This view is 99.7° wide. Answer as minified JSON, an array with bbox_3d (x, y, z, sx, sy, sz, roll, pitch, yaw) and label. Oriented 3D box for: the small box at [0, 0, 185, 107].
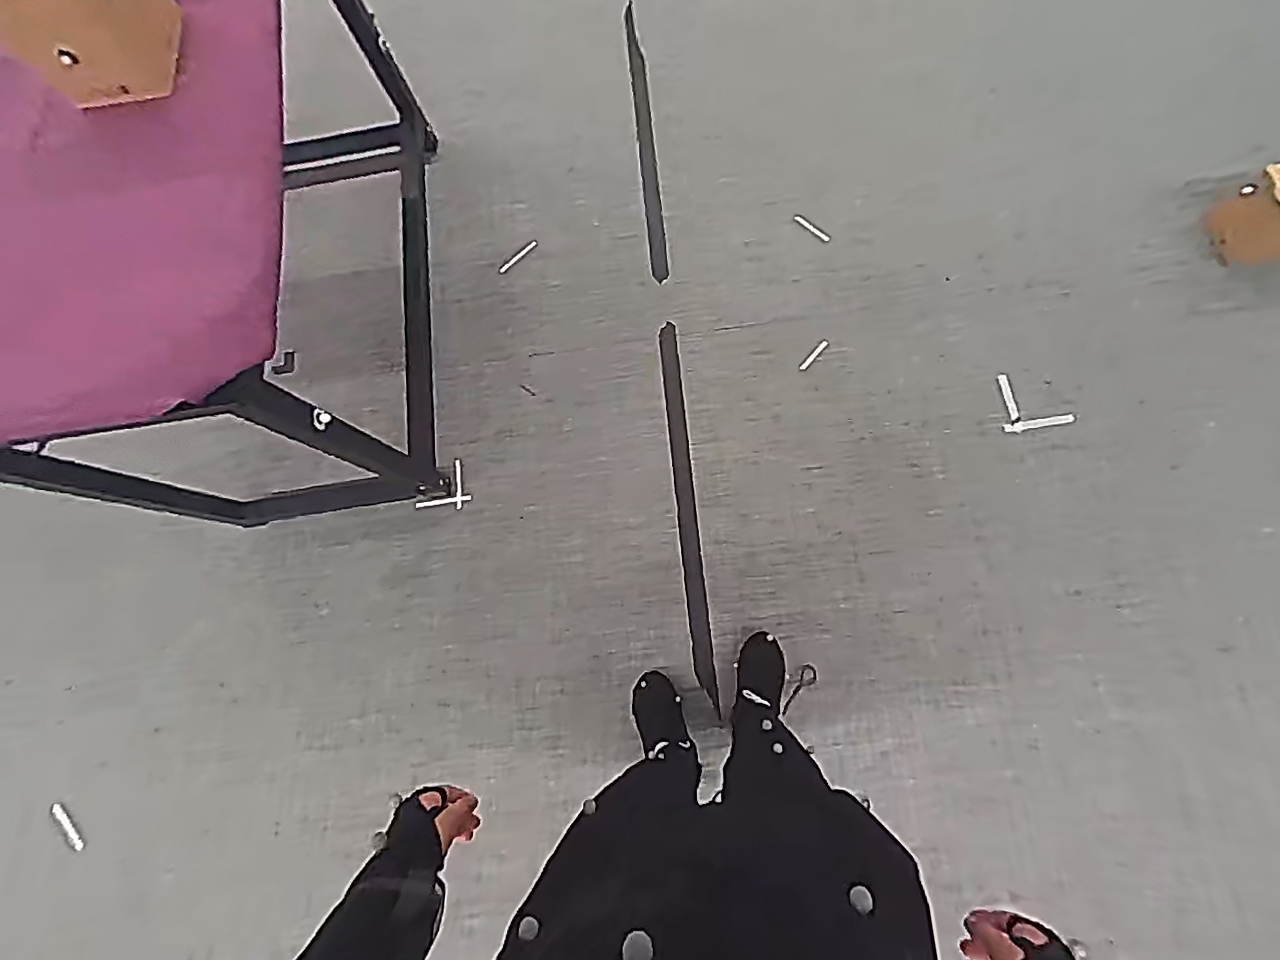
[{"bbox_3d":[-0.849,-0.708,0.826,0.168,0.176,0.179,-5,76,3],"label":"small box"}]
